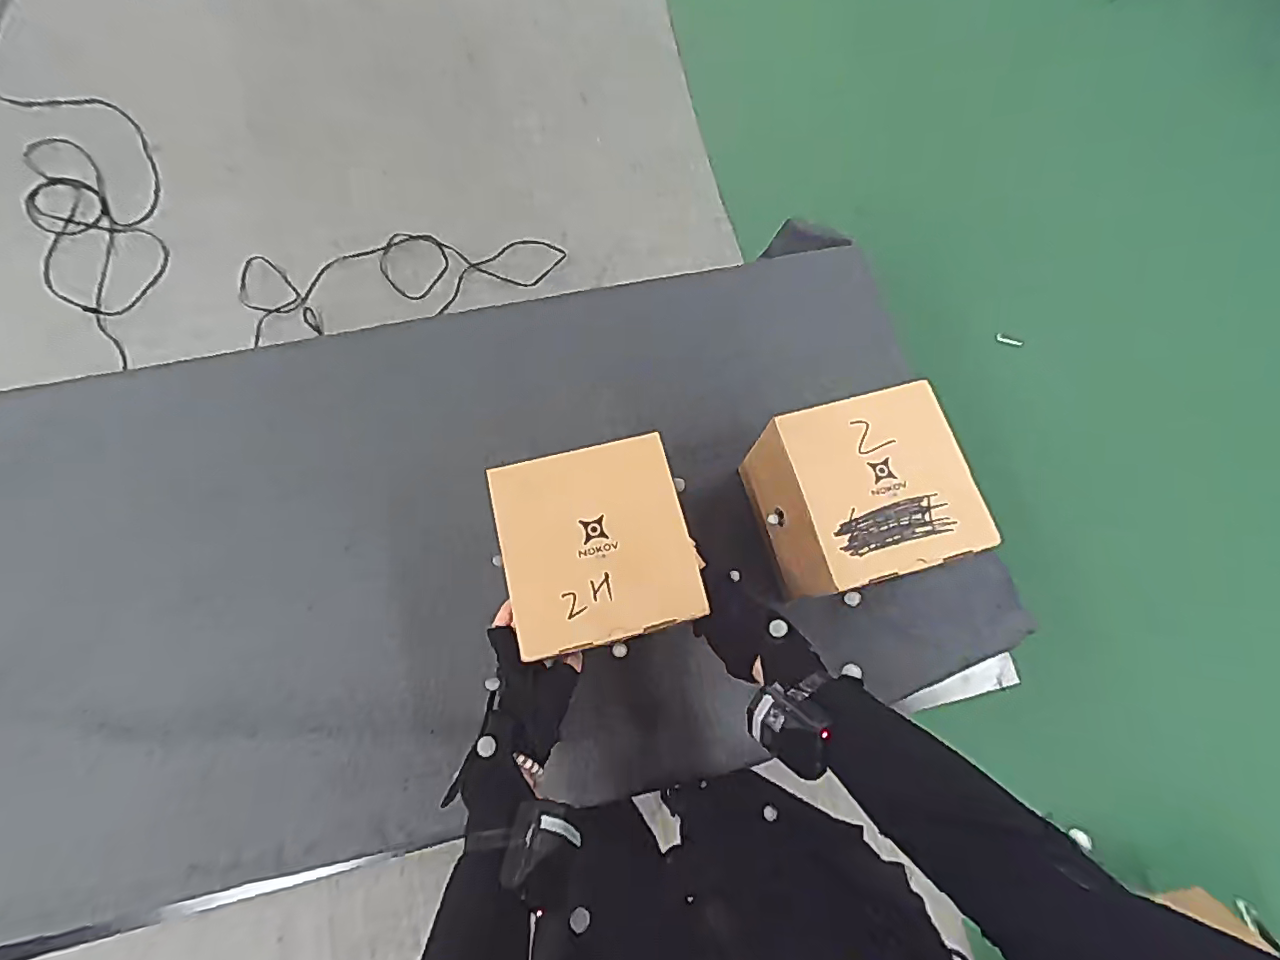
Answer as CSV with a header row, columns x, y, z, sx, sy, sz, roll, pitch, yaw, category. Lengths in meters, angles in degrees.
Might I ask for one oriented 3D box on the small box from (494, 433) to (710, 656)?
x,y,z,sx,sy,sz,roll,pitch,yaw,category
-0.041,0.075,0.555,0.168,0.176,0.179,-13,74,-6,small box
